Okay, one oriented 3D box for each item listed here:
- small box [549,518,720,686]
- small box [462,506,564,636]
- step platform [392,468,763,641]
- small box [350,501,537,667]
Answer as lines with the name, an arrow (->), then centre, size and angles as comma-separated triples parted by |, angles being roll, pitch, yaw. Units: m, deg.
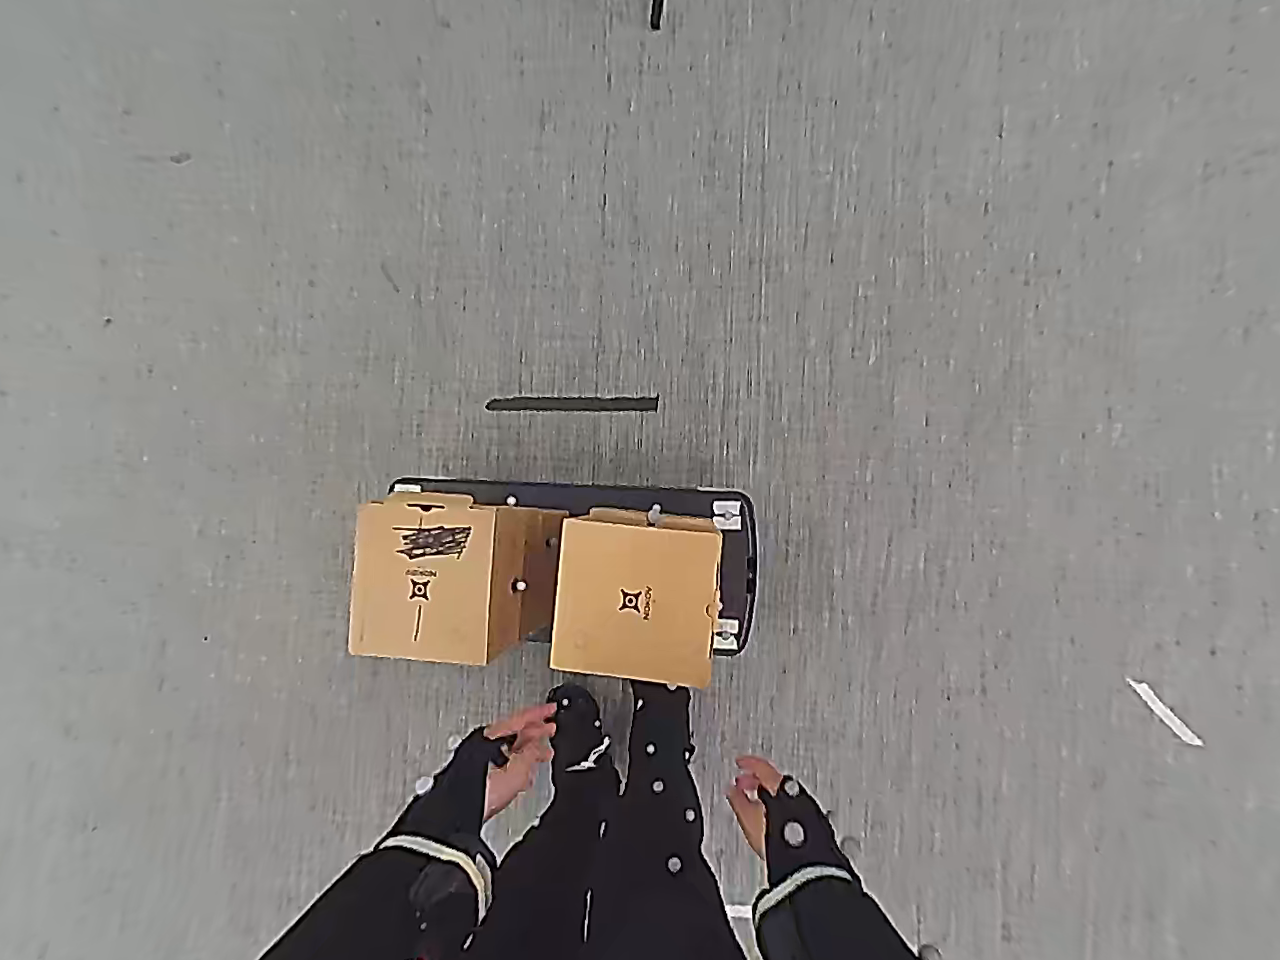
small box -> 0.001, 0.137, 0.668 | 0.179, 0.176, 0.168 | 5, 87, 5
small box -> -0.218, 0.134, 0.853 | 0.168, 0.176, 0.179 | 4, 87, 6
step platform -> -0.118, 0.130, 1.018 | 0.684, 0.204, 0.286 | 2, 86, 6
small box -> -0.236, 0.121, 0.690 | 0.168, 0.176, 0.179 | 3, 87, 6
